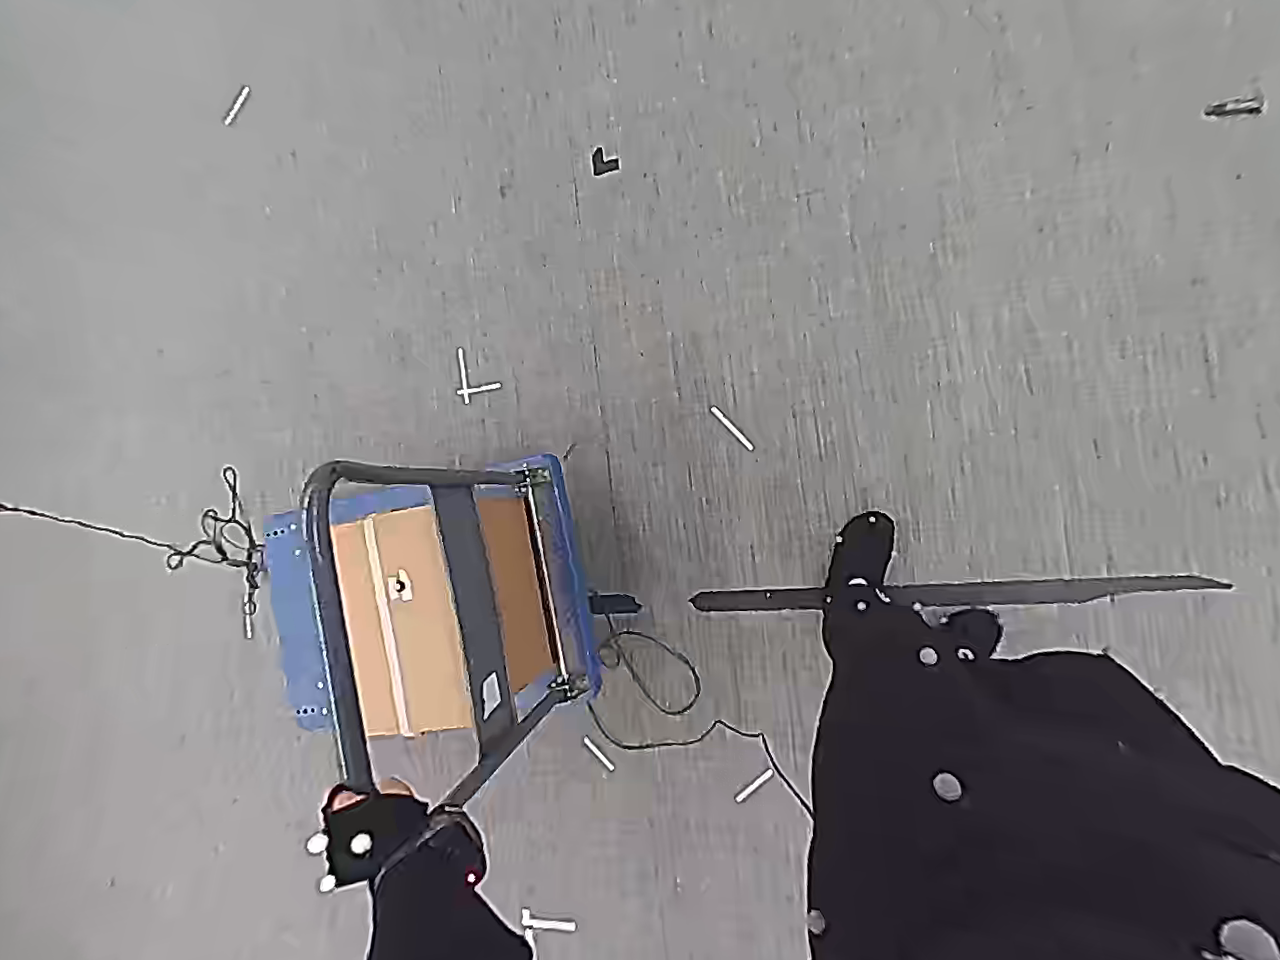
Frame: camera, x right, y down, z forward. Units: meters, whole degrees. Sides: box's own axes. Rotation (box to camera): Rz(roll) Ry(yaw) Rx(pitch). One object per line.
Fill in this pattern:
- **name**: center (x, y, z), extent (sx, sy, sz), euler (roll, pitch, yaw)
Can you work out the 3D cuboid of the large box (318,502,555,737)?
- **large box**: center (-0.411, 0.273, 1.152), extent (0.320, 0.320, 0.408), euler (-11, 87, 15)
